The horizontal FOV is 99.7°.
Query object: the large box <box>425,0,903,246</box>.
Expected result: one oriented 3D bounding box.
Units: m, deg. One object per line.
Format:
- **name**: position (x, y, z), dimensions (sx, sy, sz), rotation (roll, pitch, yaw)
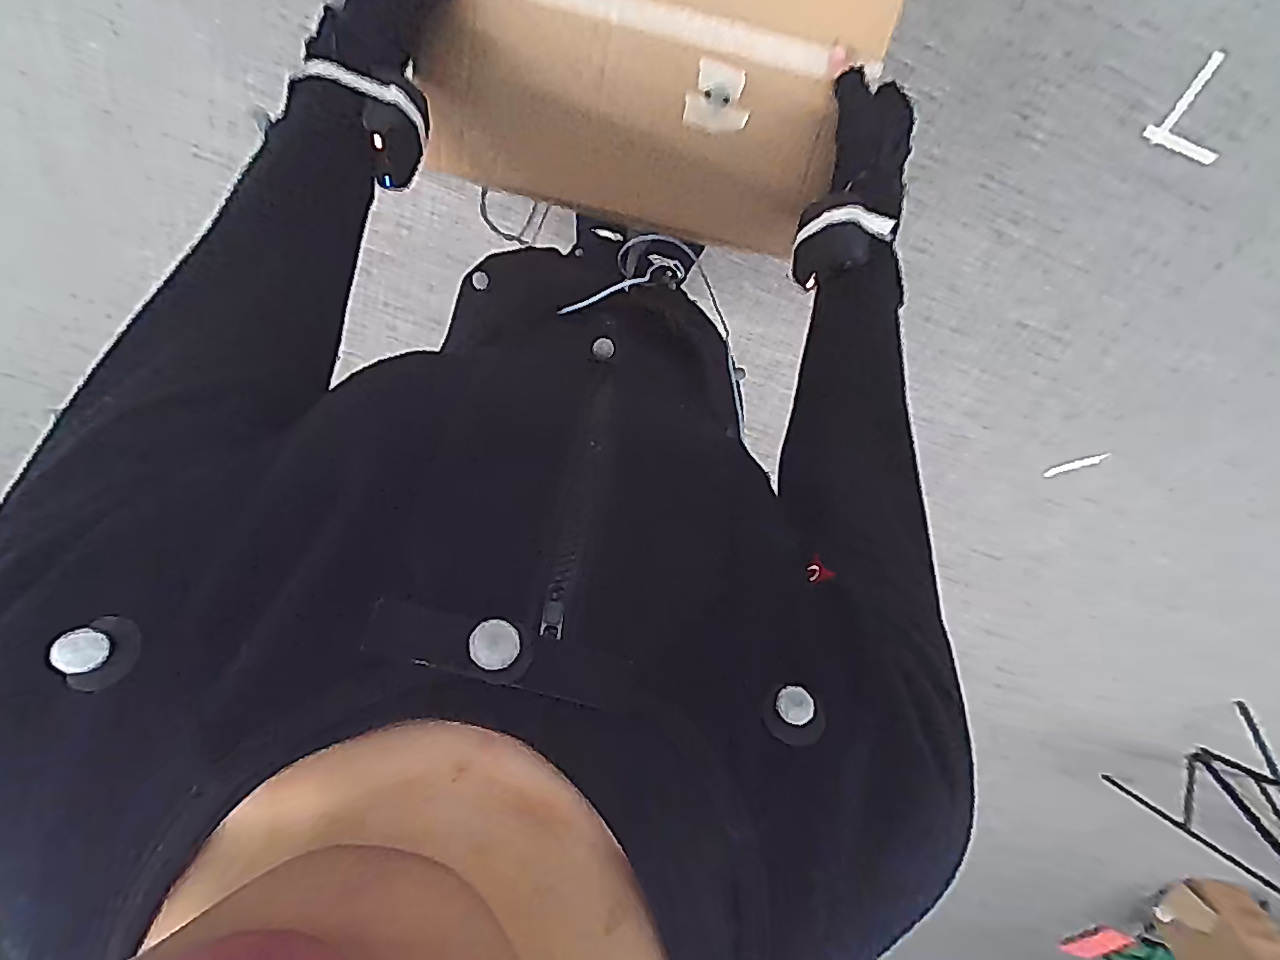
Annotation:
- **large box**: position (0.020, -0.469, 0.601), dimensions (0.408, 0.320, 0.320), rotation (12, 115, -6)
